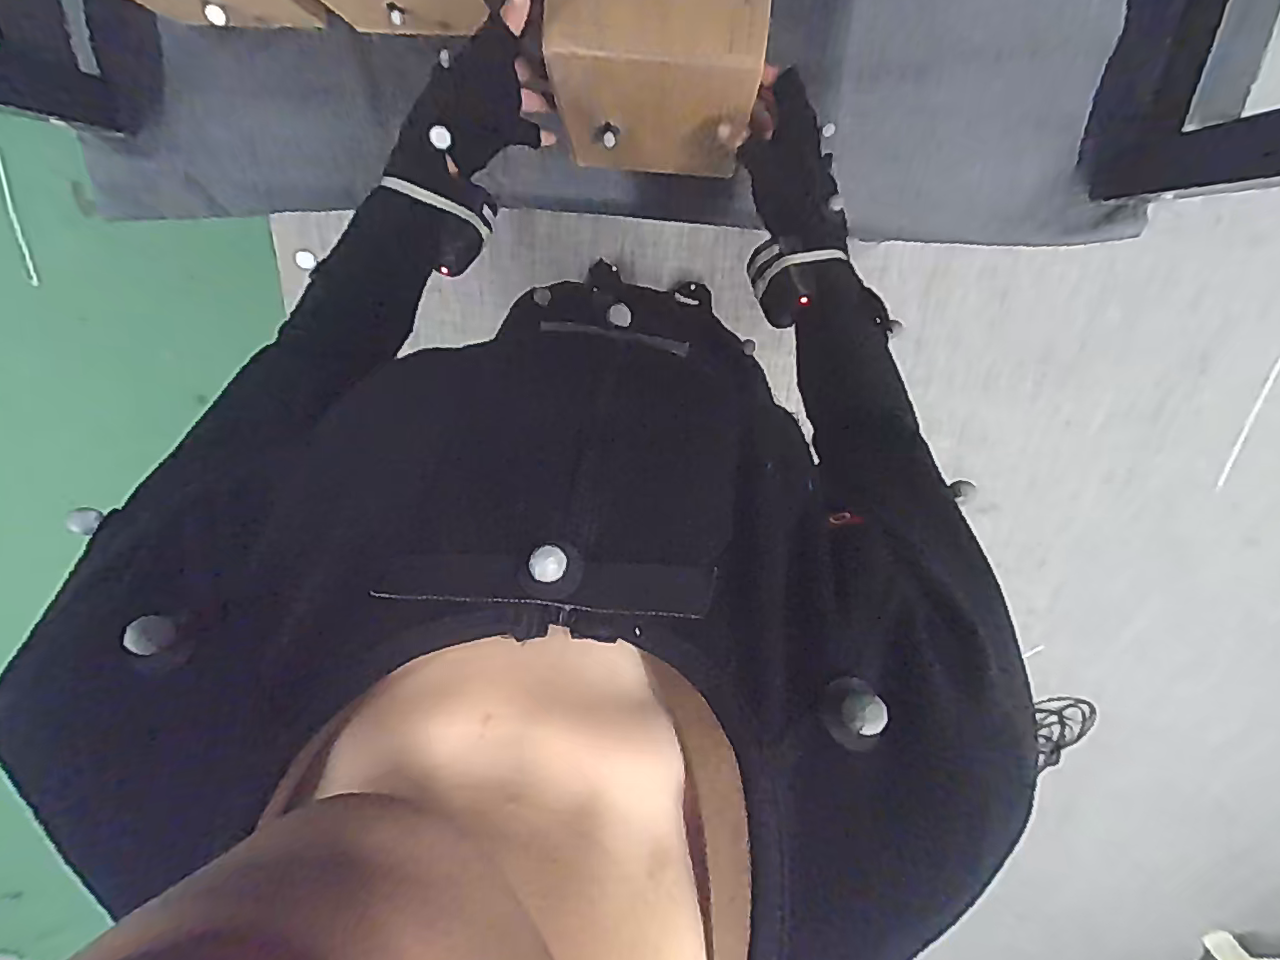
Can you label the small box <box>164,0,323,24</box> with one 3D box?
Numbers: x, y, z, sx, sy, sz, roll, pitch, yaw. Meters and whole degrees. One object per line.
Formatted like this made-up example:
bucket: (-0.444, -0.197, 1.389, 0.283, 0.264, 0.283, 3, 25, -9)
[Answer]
small box: (-0.410, -0.538, 0.464, 0.168, 0.176, 0.179, 3, 112, 2)
